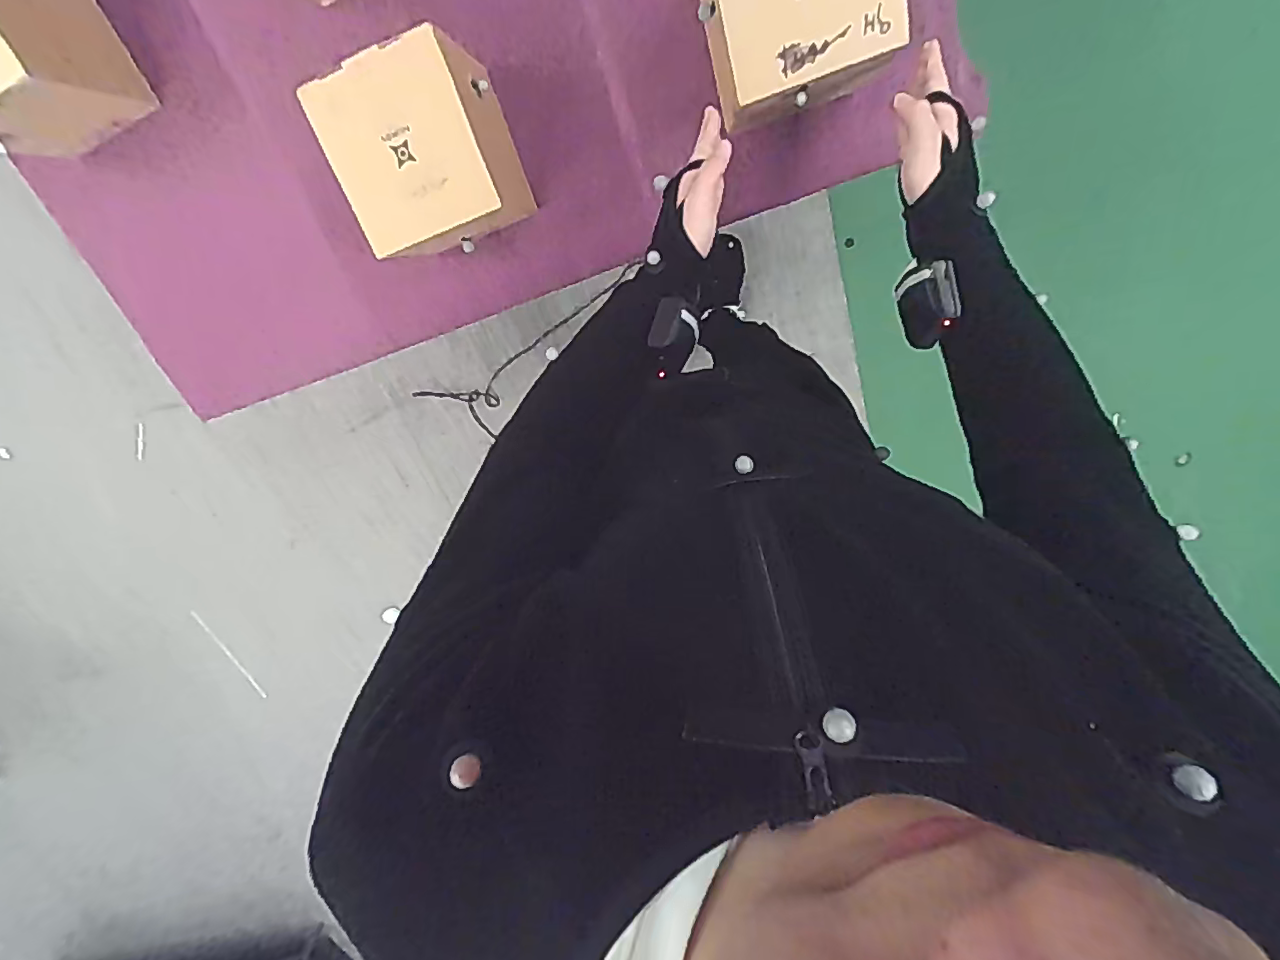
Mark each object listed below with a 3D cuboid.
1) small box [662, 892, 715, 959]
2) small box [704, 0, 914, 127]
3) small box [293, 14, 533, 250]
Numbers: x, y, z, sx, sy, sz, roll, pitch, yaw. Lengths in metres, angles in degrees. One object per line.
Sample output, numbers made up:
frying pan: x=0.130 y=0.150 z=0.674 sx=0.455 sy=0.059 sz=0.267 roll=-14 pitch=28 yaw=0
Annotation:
small box: x=0.169 y=1.567 z=1.869 sx=0.168 sy=0.176 sz=0.179 roll=-6 pitch=114 yaw=5
small box: x=0.159 y=-0.501 z=0.557 sx=0.168 sy=0.176 sz=0.179 roll=-14 pitch=112 yaw=11
small box: x=-0.246 y=-0.385 z=0.636 sx=0.168 sy=0.176 sz=0.179 roll=-15 pitch=113 yaw=11
